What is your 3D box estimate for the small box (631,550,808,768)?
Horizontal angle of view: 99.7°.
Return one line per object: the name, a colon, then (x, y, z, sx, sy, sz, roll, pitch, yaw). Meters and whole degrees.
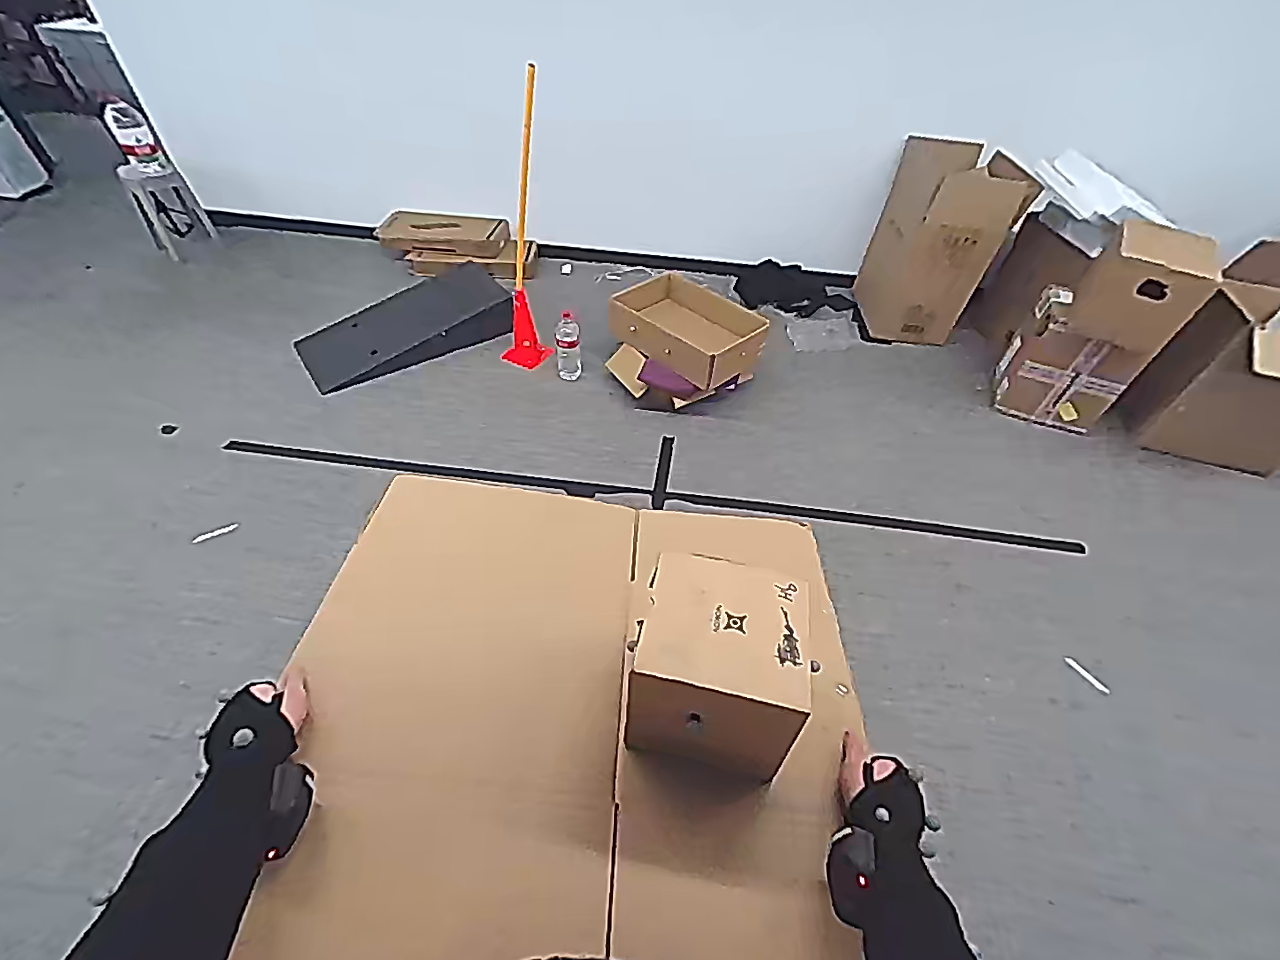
small box: (0.090, 0.210, 0.634, 0.179, 0.176, 0.168, 10, 42, 8)
